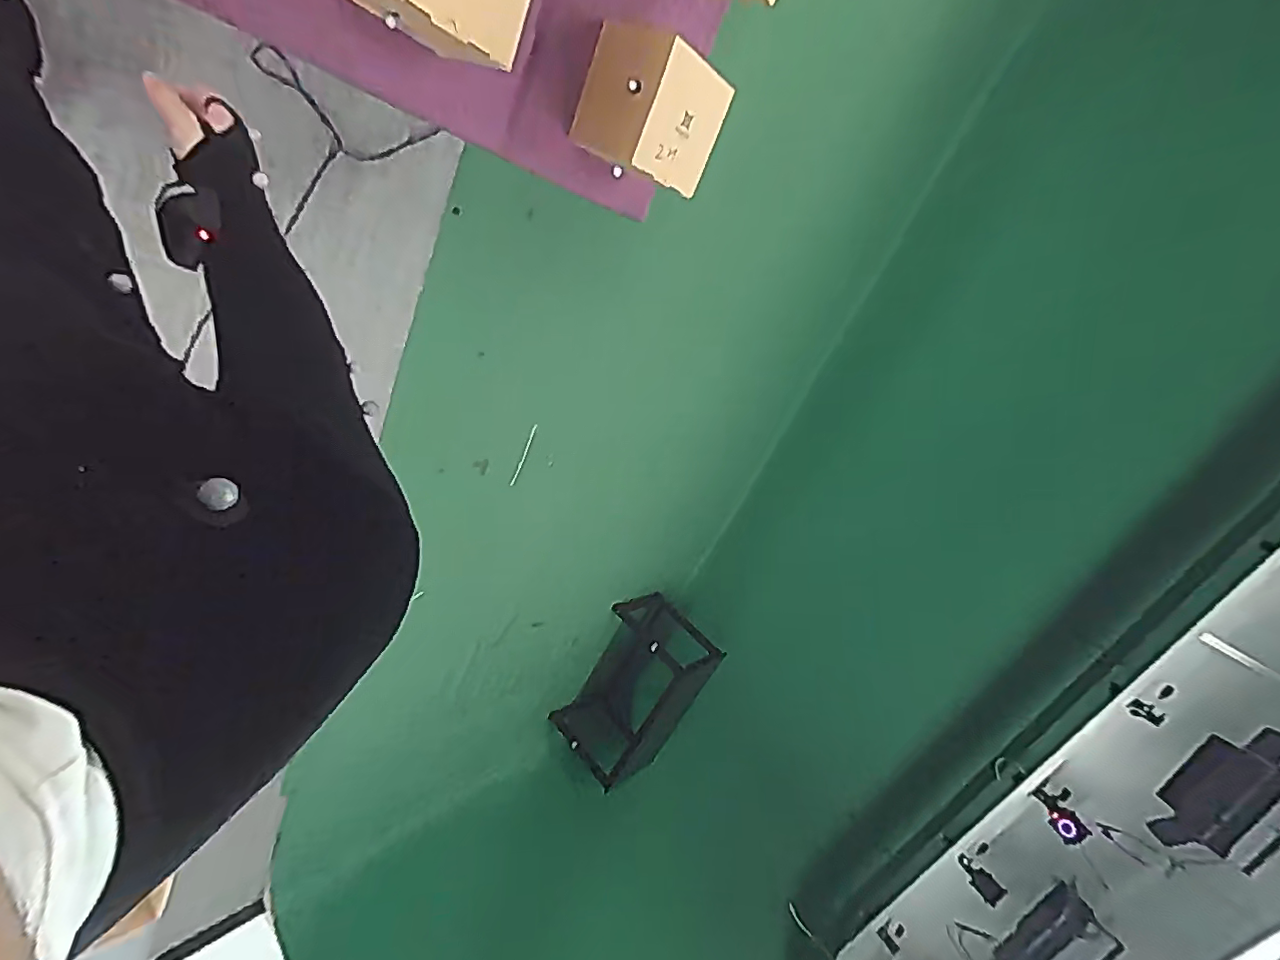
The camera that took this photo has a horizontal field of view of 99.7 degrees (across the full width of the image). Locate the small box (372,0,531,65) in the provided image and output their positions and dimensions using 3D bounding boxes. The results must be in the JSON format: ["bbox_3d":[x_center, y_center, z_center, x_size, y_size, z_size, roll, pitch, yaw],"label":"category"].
[{"bbox_3d":[-0.222,-0.602,0.583,0.168,0.176,0.179,-5,128,-51],"label":"small box"}]

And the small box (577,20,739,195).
[{"bbox_3d":[0.023,-0.610,0.890,0.168,0.176,0.179,-4,128,-49],"label":"small box"}]
